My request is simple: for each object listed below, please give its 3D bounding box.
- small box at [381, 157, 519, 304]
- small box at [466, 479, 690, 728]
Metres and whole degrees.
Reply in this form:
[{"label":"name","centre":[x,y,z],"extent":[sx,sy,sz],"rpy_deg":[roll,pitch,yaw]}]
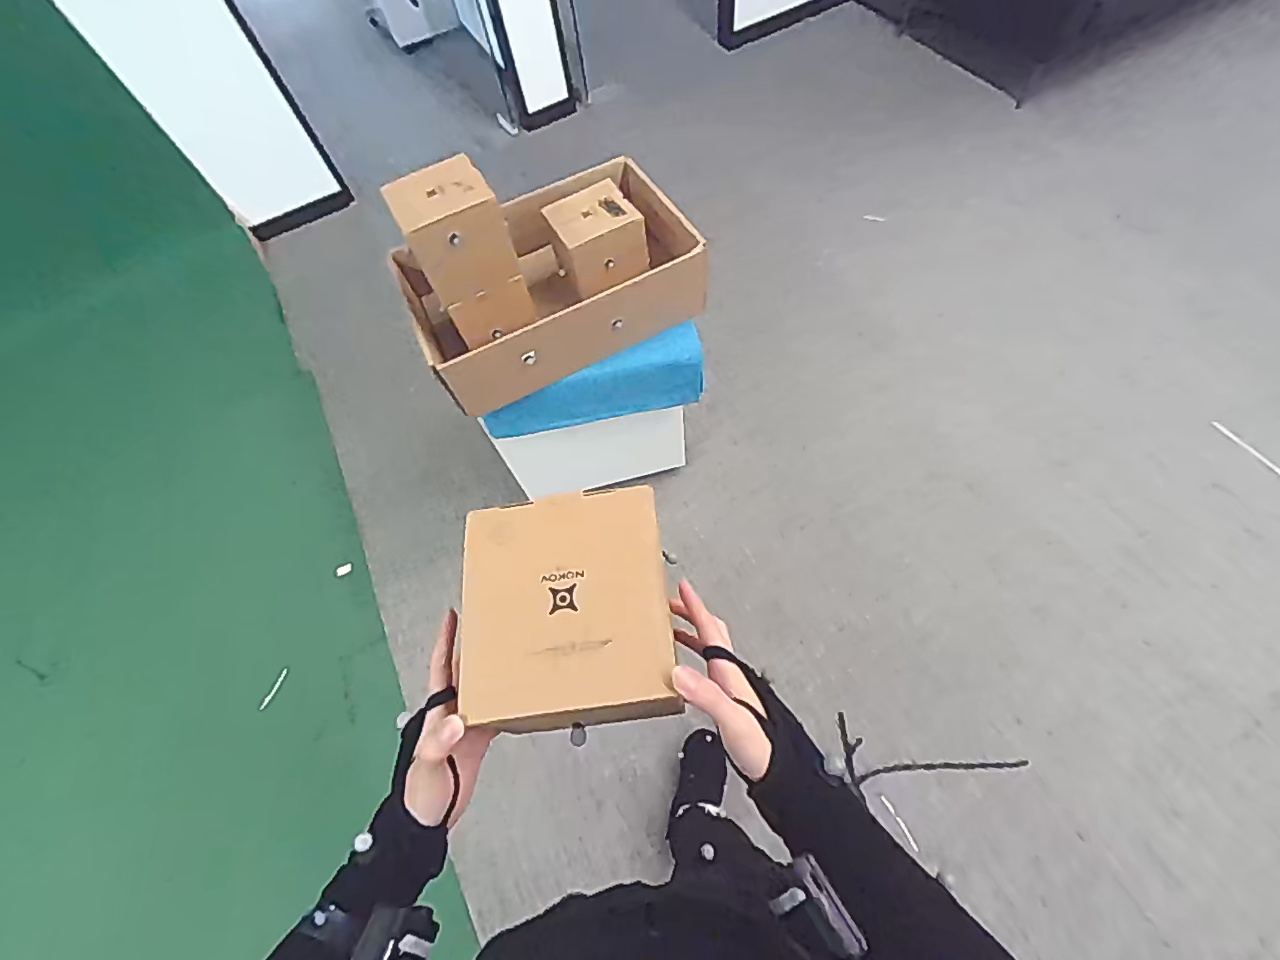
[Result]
[{"label":"small box","centre":[-0.359,-0.475,1.045],"extent":[0.179,0.176,0.168],"rpy_deg":[-28,62,-9]},{"label":"small box","centre":[-0.047,0.122,0.501],"extent":[0.168,0.176,0.179],"rpy_deg":[-8,62,2]}]
